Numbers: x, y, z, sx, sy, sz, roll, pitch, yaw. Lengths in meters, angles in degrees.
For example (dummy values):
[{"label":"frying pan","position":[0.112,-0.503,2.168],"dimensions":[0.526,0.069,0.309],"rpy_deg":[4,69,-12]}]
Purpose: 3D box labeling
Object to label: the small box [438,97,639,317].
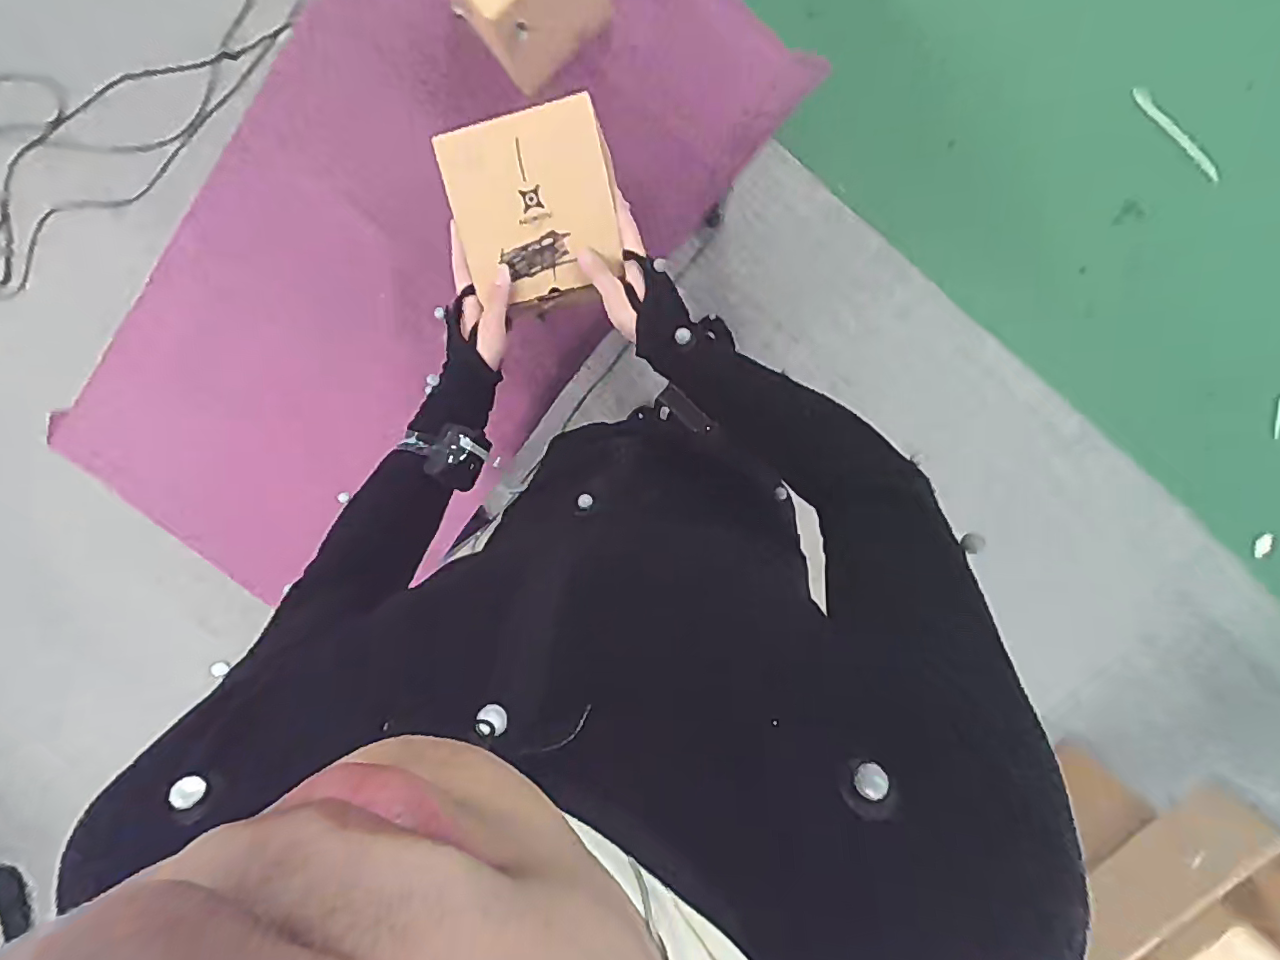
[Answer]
[{"label":"small box","position":[-0.100,-0.293,0.626],"dimensions":[0.168,0.176,0.179],"rpy_deg":[-12,103,6]}]
